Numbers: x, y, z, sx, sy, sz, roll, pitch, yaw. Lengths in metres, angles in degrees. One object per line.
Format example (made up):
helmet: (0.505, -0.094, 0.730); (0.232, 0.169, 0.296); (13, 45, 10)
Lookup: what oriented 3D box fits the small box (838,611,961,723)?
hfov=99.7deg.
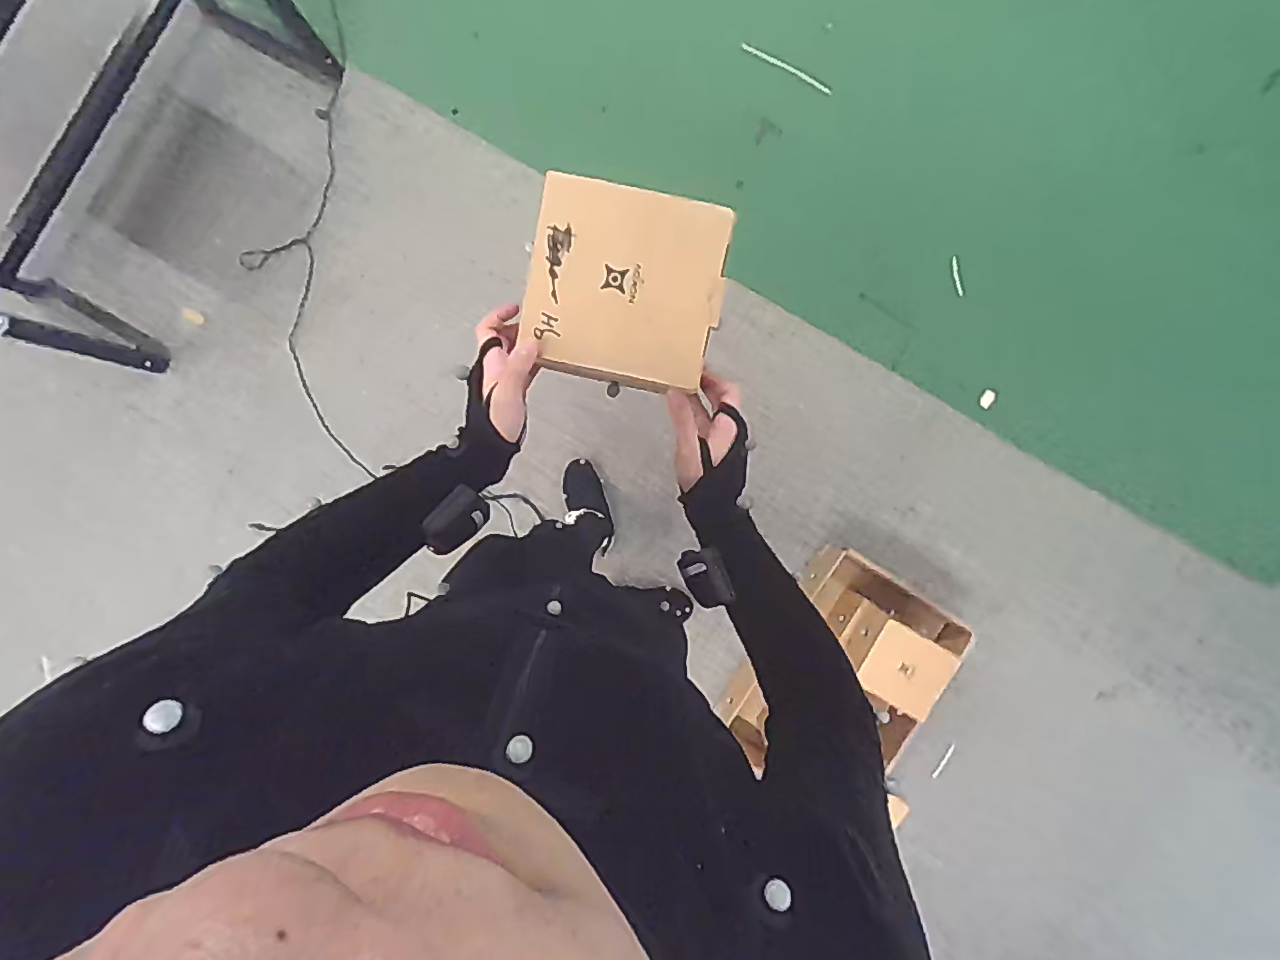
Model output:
small box: (0.594, 0.424, 1.266); (0.179, 0.176, 0.168); (30, 91, 5)

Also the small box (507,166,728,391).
small box: (-0.022, -0.192, 0.571); (0.179, 0.176, 0.168); (12, 95, -1)
